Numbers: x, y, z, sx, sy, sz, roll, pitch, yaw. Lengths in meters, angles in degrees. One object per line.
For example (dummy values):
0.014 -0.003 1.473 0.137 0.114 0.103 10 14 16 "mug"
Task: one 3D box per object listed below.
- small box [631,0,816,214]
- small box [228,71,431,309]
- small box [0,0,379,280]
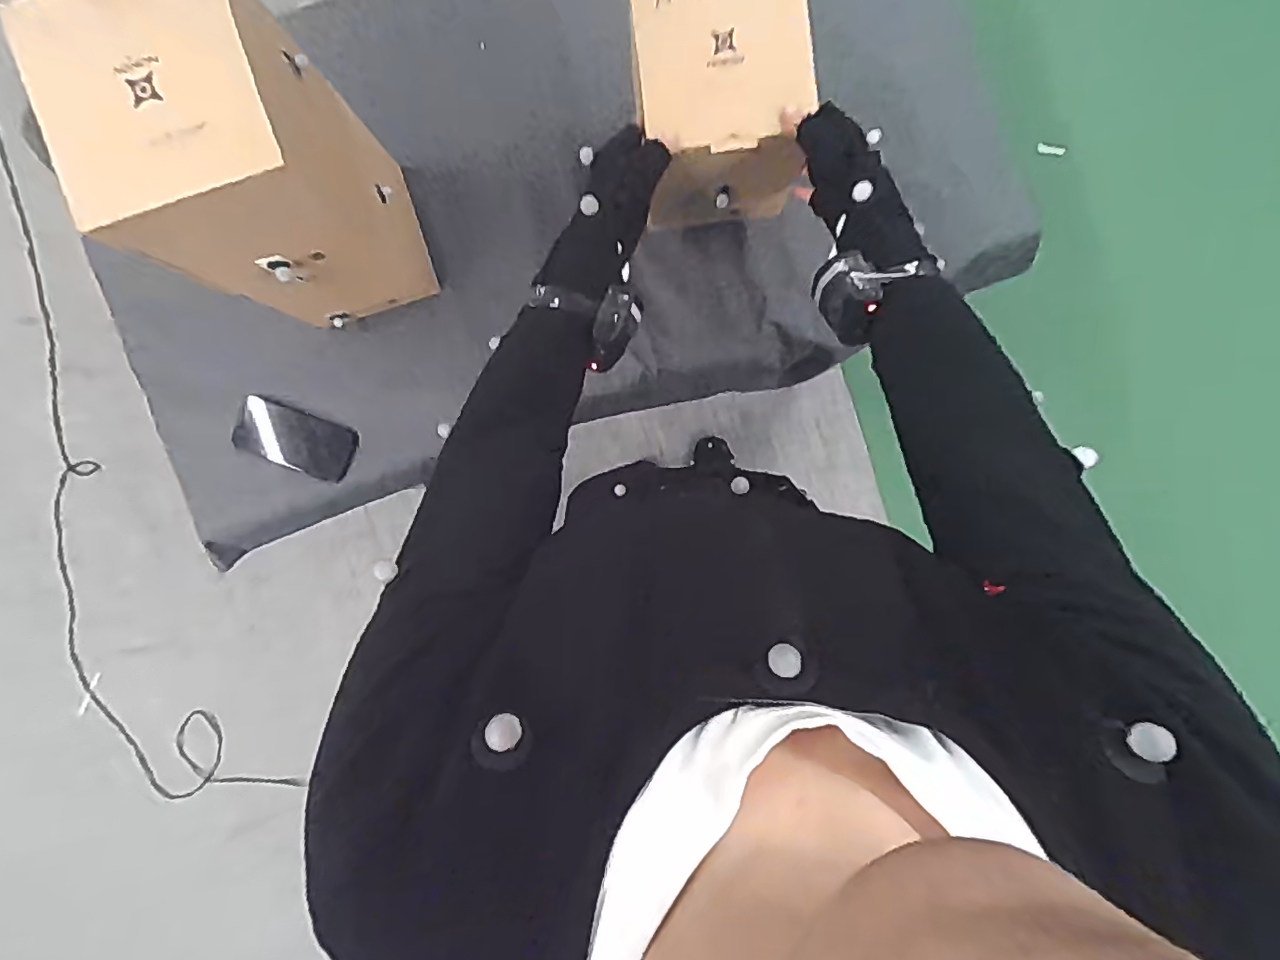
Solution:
0.081 -0.408 0.584 0.168 0.176 0.179 -5 92 2 "small box"
-0.371 -0.317 0.635 0.168 0.176 0.179 -17 92 0 "small box"
-0.367 -0.304 0.474 0.168 0.176 0.179 -18 94 1 "small box"
